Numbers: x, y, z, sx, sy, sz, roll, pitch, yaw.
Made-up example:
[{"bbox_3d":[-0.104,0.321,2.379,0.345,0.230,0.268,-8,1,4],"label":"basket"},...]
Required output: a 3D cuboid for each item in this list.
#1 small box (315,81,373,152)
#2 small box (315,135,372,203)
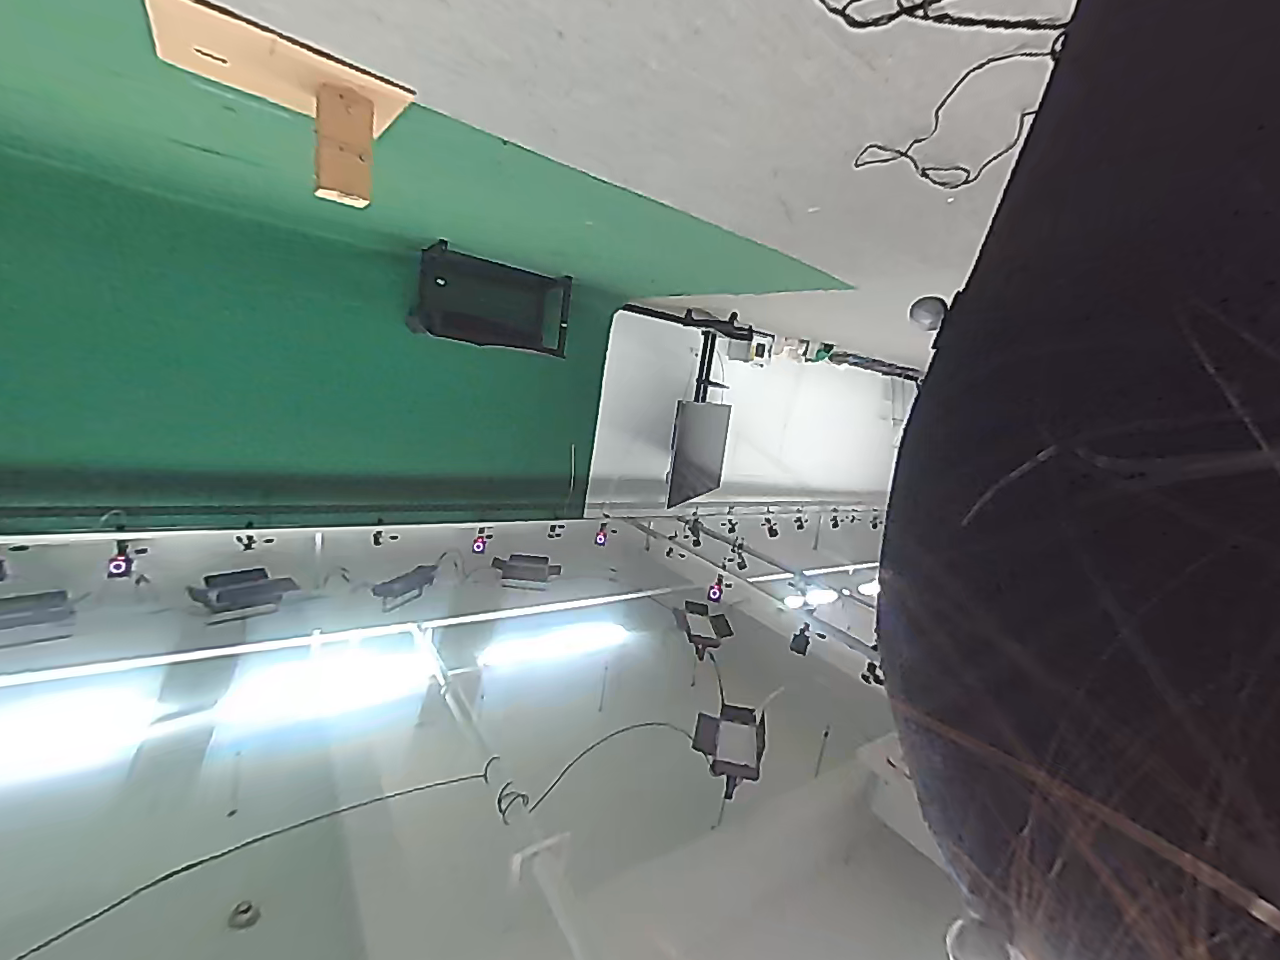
[{"bbox_3d":[-1.082,-1.313,1.975,0.168,0.176,0.179,-1,-165,-37],"label":"small box"},{"bbox_3d":[-1.105,-1.154,2.009,0.168,0.176,0.179,-1,-164,-38],"label":"small box"}]
